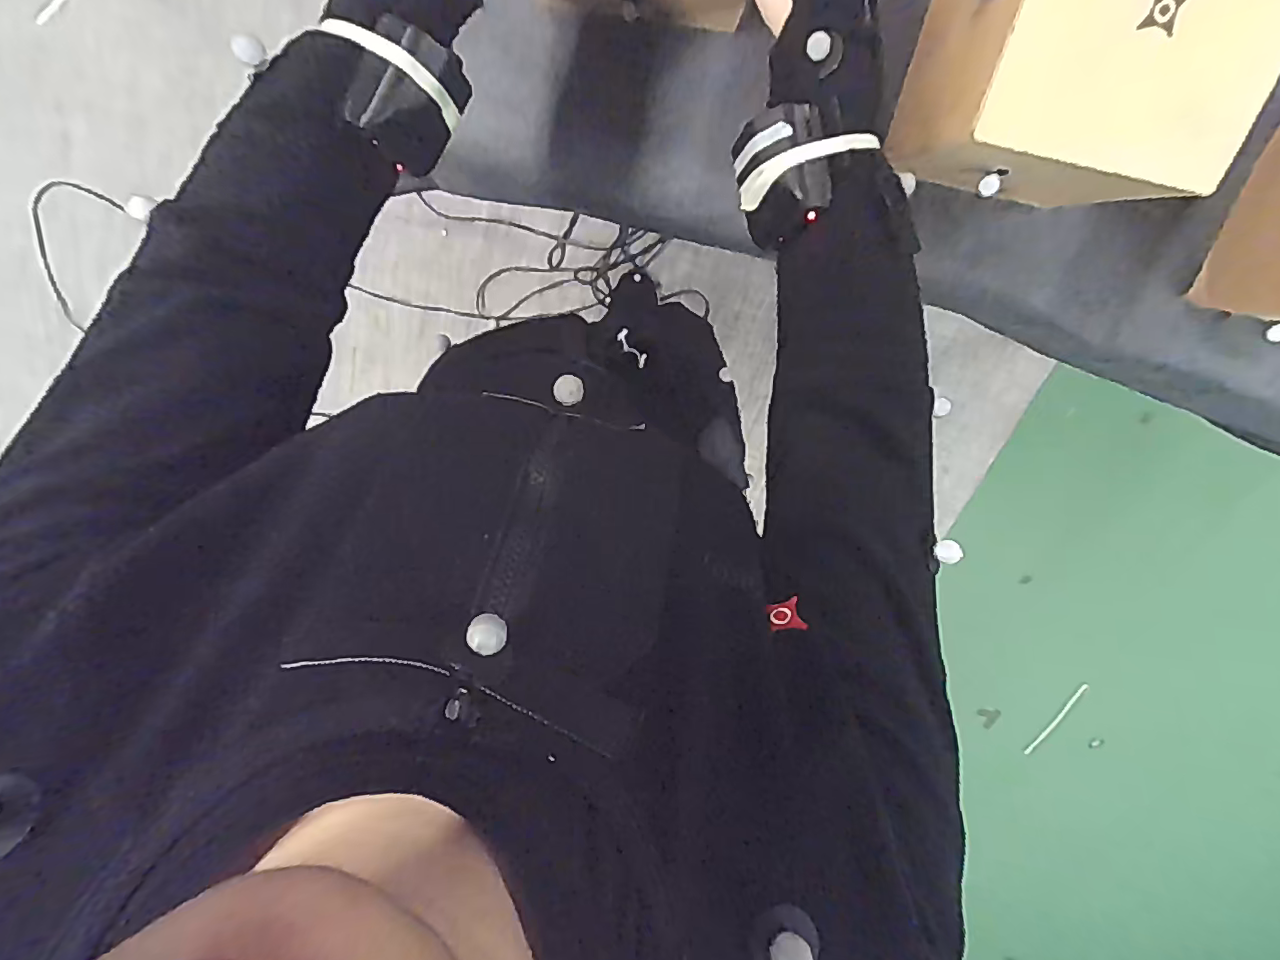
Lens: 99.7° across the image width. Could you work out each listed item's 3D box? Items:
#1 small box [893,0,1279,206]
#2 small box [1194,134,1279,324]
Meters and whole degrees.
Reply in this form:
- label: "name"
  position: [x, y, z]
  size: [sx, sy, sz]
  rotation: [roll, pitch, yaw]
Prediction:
- label: "small box"
  position: [0.310, -0.309, 0.387]
  size: [0.168, 0.176, 0.179]
  rotation: [11, 113, -3]
- label: "small box"
  position: [0.617, -0.205, 0.423]
  size: [0.168, 0.176, 0.179]
  rotation: [10, 114, -1]
